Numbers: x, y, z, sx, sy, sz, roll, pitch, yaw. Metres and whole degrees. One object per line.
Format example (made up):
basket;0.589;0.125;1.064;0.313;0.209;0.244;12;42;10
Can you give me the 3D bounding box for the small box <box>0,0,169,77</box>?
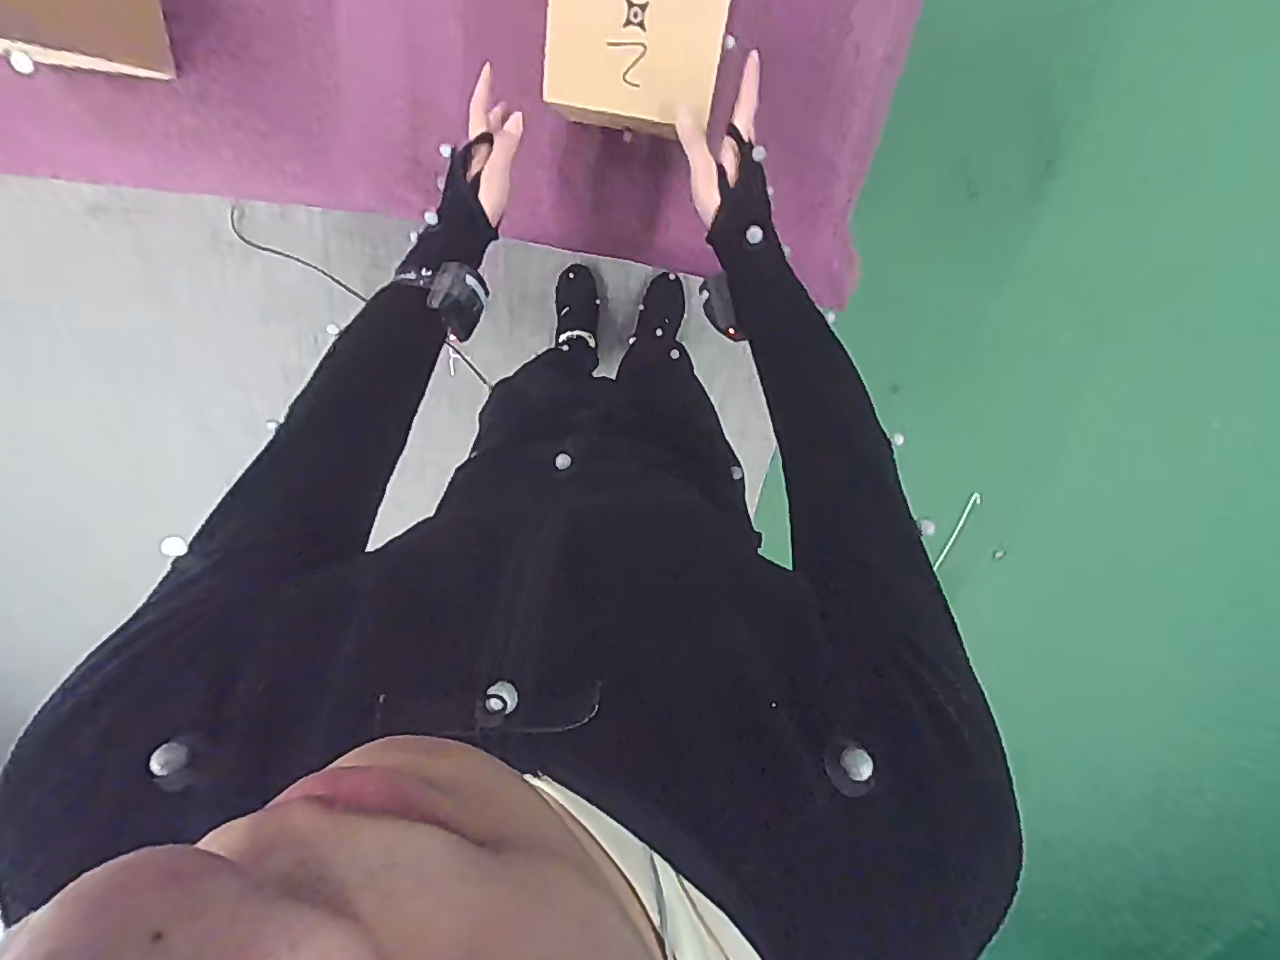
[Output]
small box;-0.648;-0.546;0.561;0.168;0.176;0.179;8;117;-1
